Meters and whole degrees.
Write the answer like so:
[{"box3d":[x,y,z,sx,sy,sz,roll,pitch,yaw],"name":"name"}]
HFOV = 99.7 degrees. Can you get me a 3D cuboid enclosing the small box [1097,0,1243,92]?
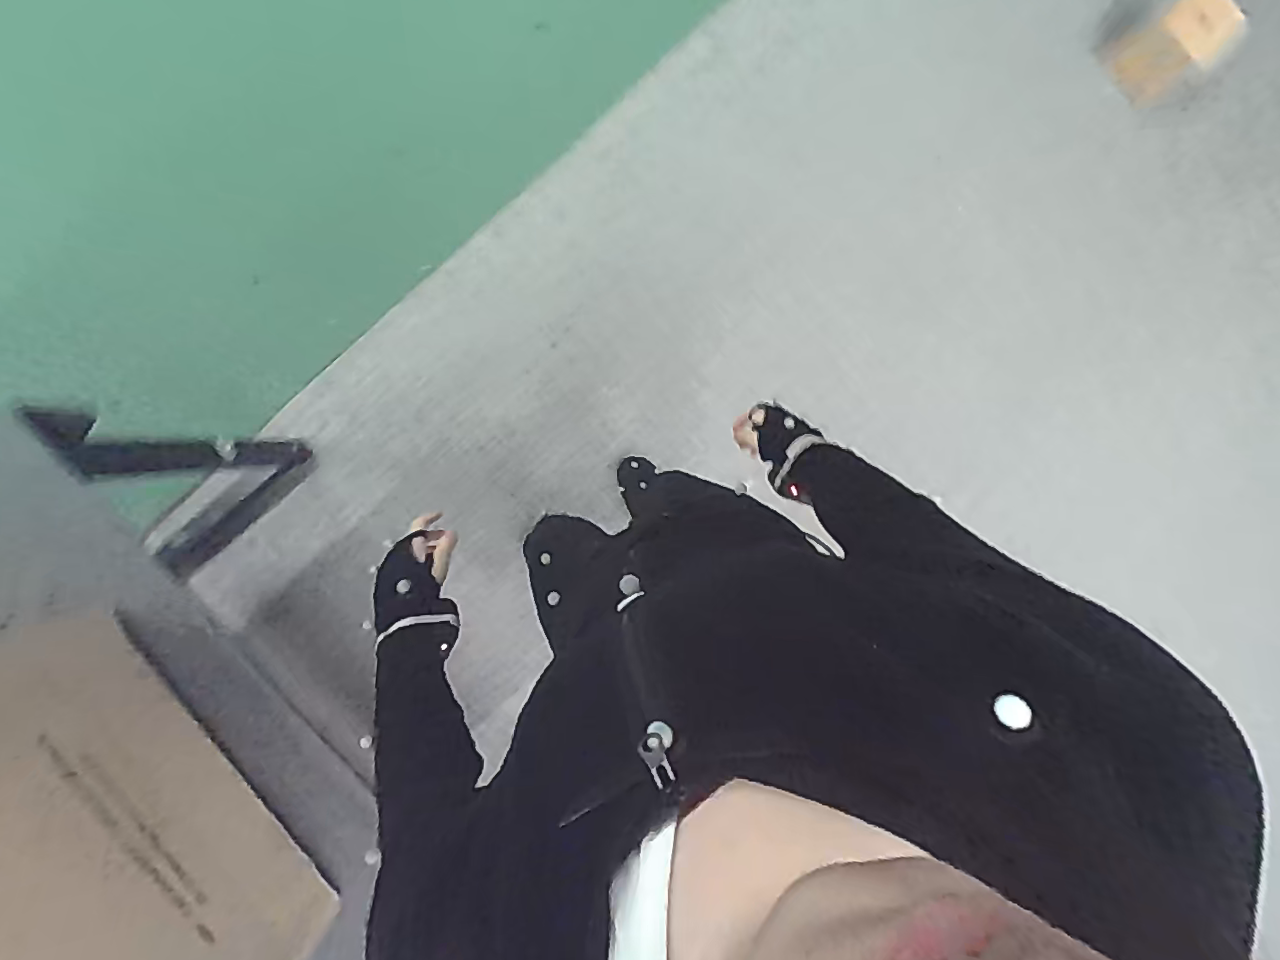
[{"box3d":[1.367,-1.163,1.407,0.179,0.176,0.168,44,92,-5],"name":"small box"}]
